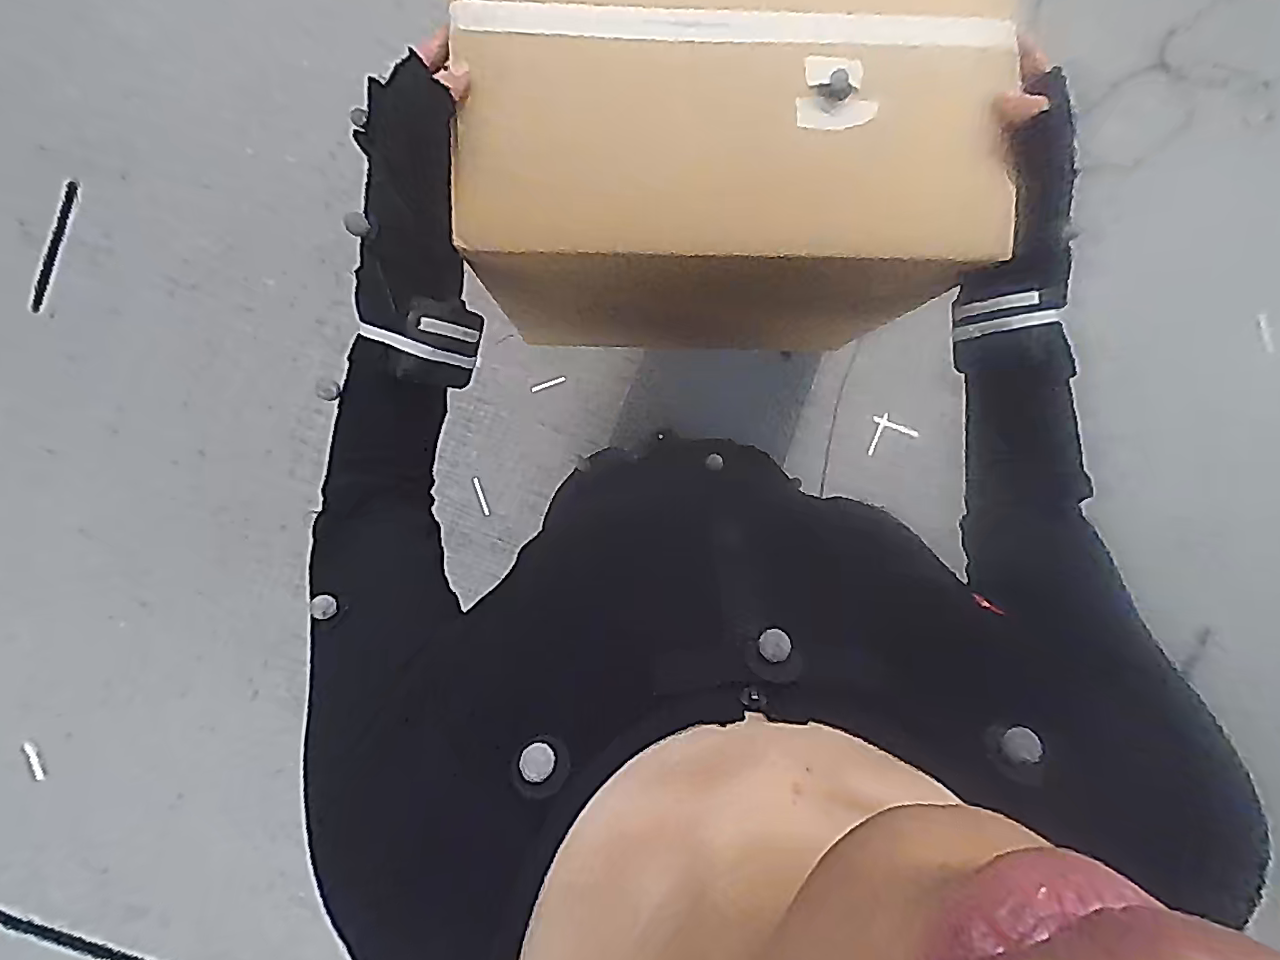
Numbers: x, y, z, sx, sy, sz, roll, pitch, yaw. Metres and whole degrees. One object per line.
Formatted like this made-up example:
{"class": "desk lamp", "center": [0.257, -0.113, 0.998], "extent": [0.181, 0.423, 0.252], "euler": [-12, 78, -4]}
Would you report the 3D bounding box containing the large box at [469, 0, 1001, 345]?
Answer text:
{"class": "large box", "center": [0.065, -0.326, 0.550], "extent": [0.408, 0.320, 0.320], "euler": [0, 92, -3]}
